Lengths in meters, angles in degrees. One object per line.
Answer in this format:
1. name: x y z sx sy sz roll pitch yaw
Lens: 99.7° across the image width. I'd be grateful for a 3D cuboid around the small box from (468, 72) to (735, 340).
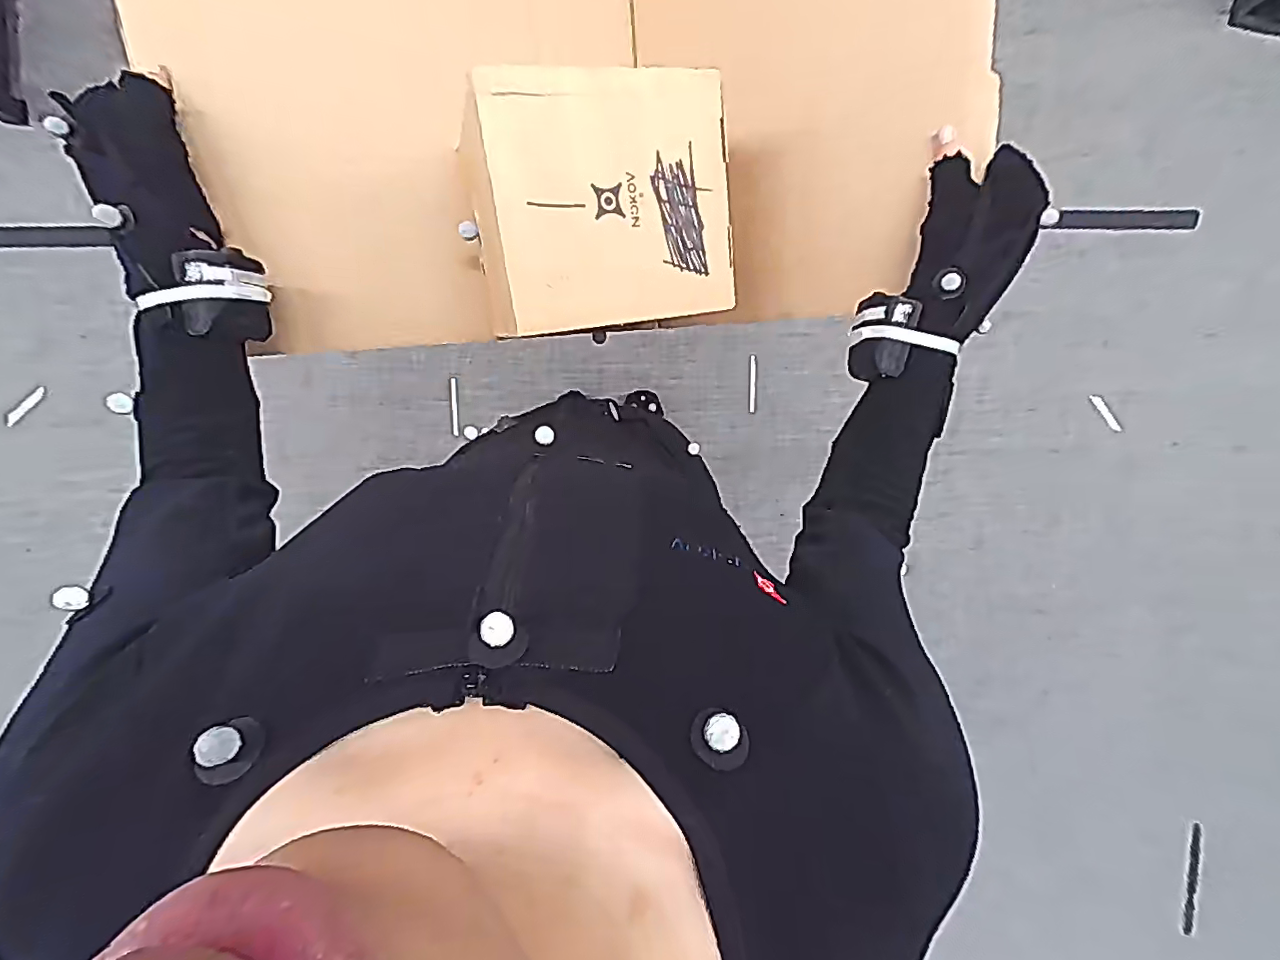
1. small box: -0.039 -0.214 0.459 0.179 0.176 0.168 -12 108 -17
